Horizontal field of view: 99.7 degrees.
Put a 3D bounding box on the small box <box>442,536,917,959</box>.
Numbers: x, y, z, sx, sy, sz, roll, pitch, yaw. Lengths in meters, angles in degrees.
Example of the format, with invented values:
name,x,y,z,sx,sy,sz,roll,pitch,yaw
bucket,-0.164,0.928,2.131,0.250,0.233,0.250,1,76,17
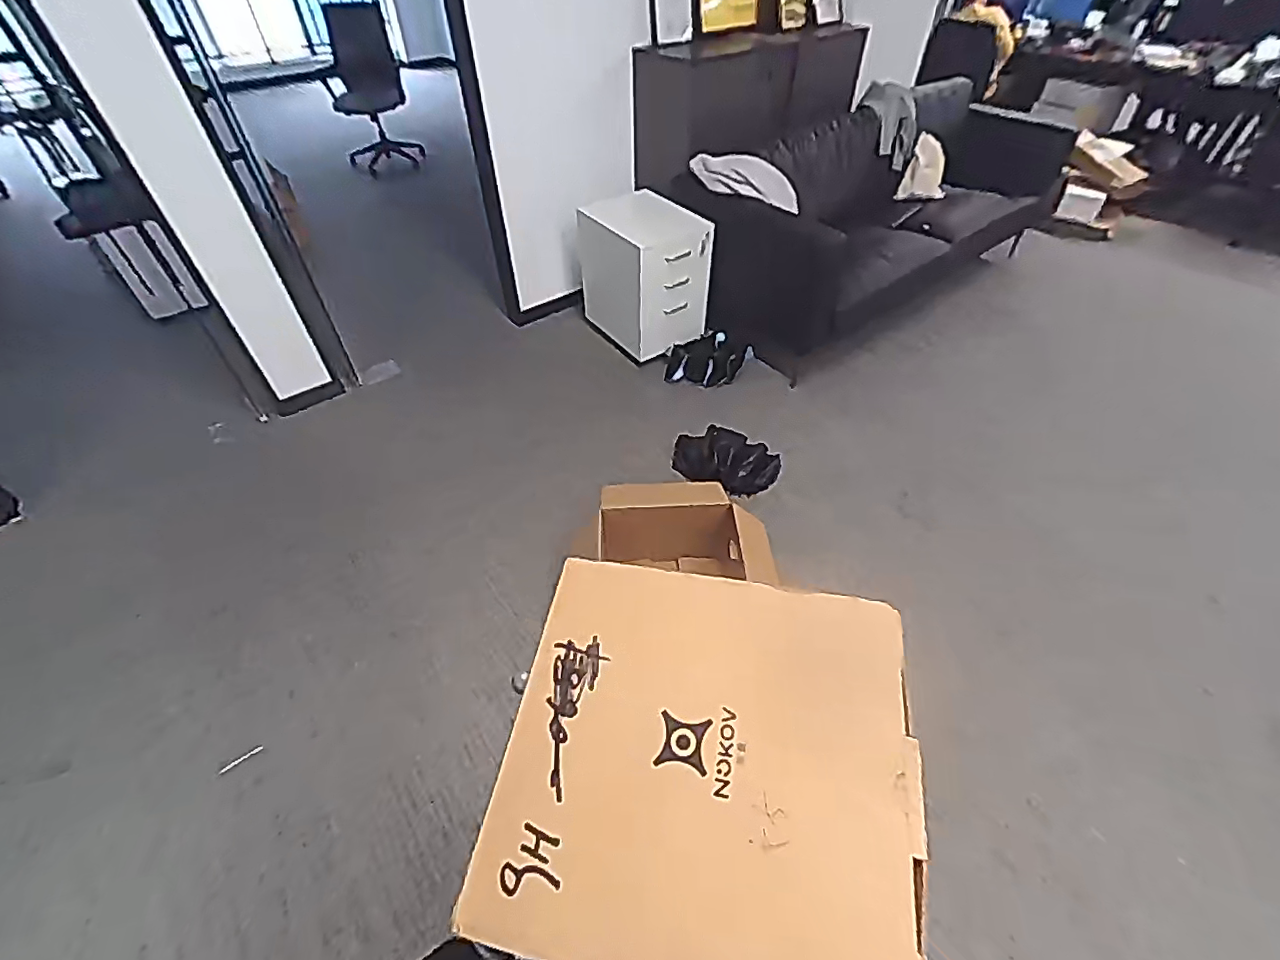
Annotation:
name,x,y,z,sx,sy,sz,roll,pitch,yaw
small box,0.030,0.155,0.300,0.179,0.176,0.168,9,55,10
